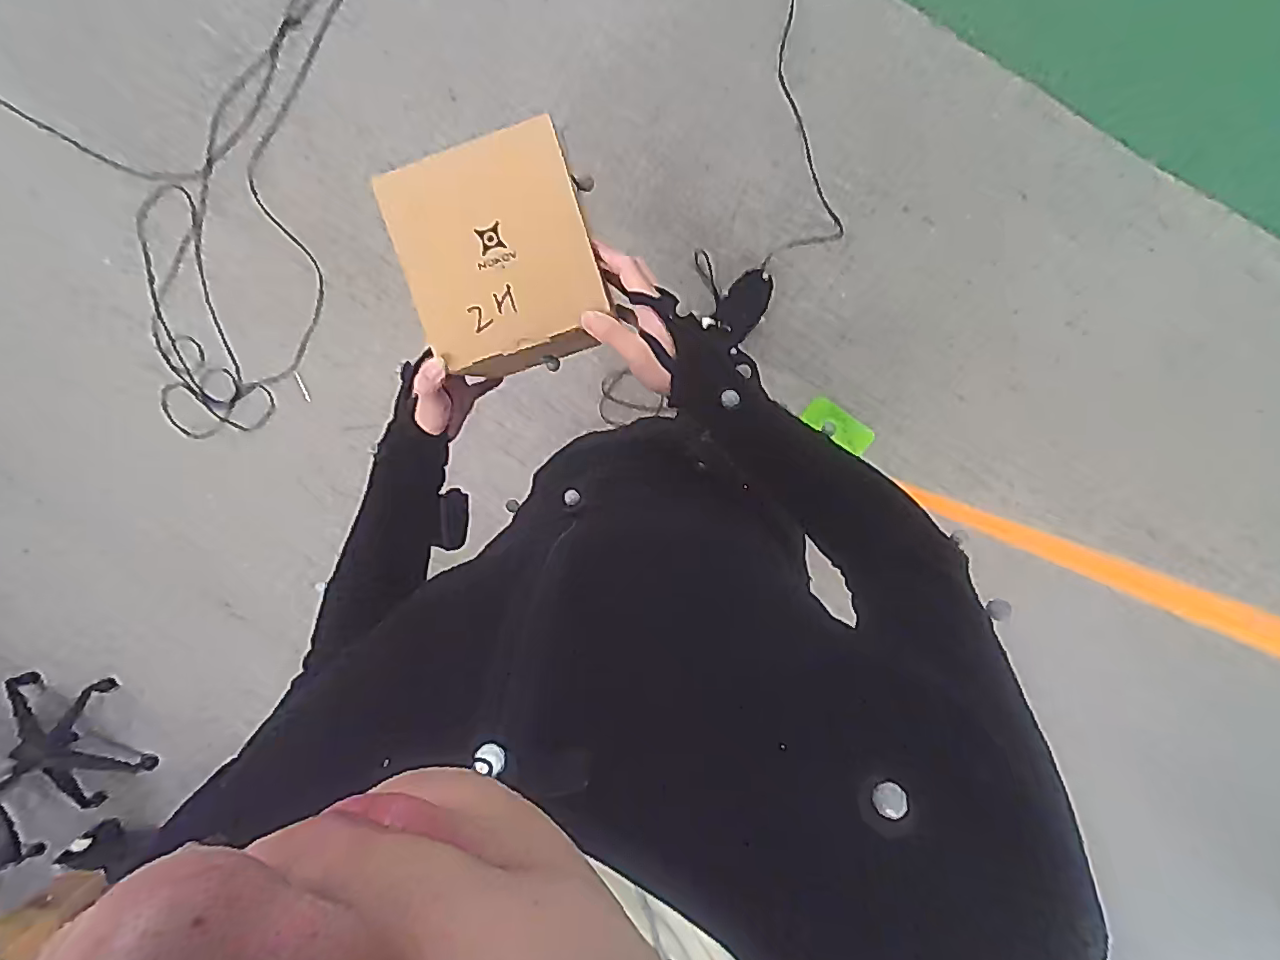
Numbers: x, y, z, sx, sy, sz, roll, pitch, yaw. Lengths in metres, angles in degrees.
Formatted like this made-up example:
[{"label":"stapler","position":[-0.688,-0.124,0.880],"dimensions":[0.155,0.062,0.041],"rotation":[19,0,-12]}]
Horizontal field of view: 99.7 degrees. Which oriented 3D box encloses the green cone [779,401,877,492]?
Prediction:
[{"label":"green cone","position":[0.490,-0.054,1.320],"dimensions":[0.202,0.368,0.200],"rotation":[34,105,0]}]
